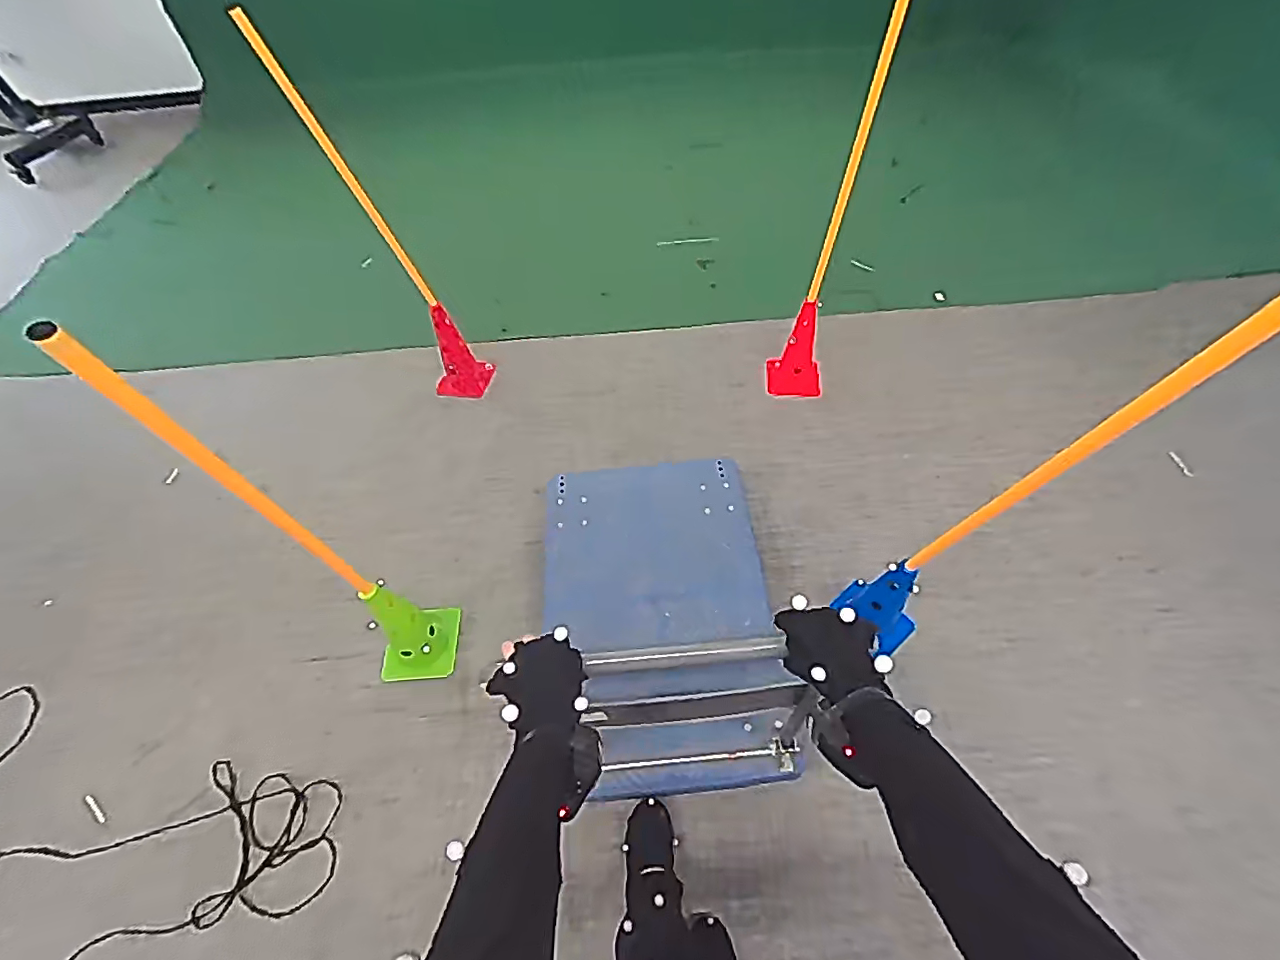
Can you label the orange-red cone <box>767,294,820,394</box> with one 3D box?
[{"bbox_3d":[0.580,-0.505,1.944,0.198,0.360,0.199,5,55,8],"label":"orange-red cone"}]
